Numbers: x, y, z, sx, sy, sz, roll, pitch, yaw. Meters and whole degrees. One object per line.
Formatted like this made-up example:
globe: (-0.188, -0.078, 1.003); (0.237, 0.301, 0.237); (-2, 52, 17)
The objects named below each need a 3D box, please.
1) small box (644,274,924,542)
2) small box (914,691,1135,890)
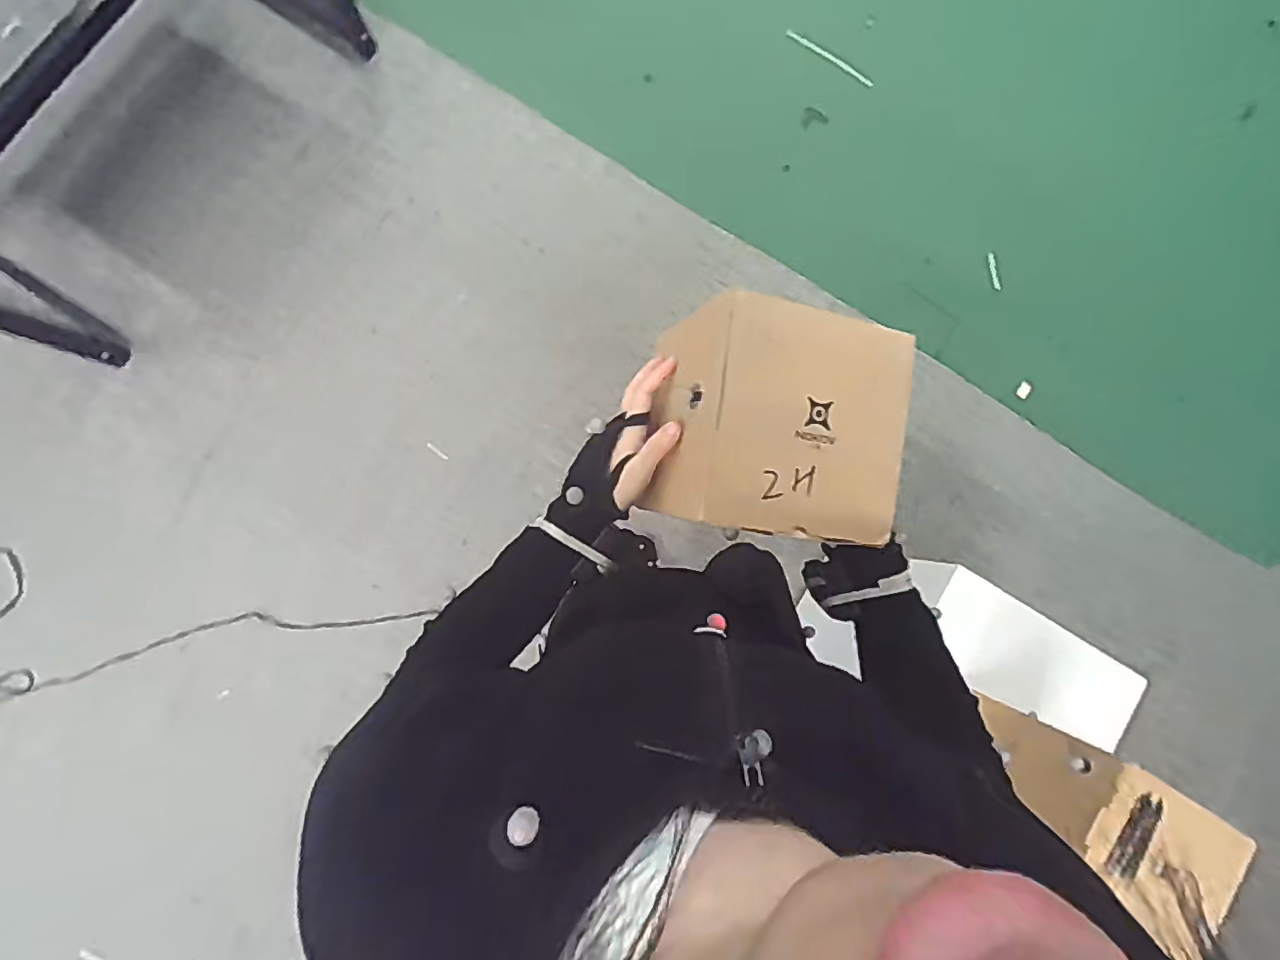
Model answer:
small box: (0.110, -0.048, 0.470); (0.168, 0.176, 0.179); (7, 89, -17)
small box: (0.567, 0.451, 0.820); (0.179, 0.176, 0.168); (34, 84, -1)
